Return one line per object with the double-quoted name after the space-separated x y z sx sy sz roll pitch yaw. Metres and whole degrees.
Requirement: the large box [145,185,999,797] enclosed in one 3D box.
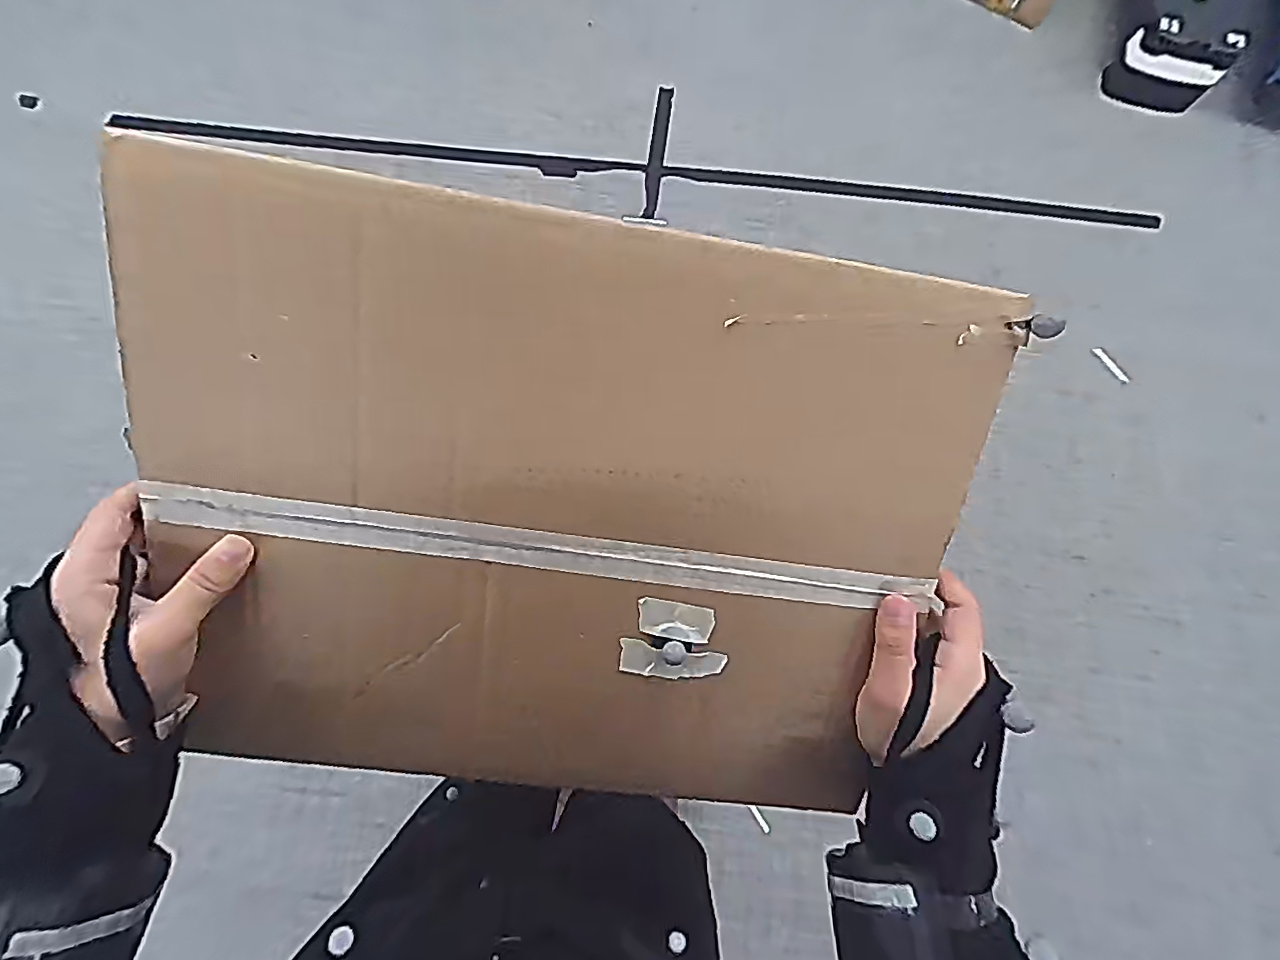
-0.048 -0.004 0.432 0.408 0.320 0.320 8 108 -6 "large box"
